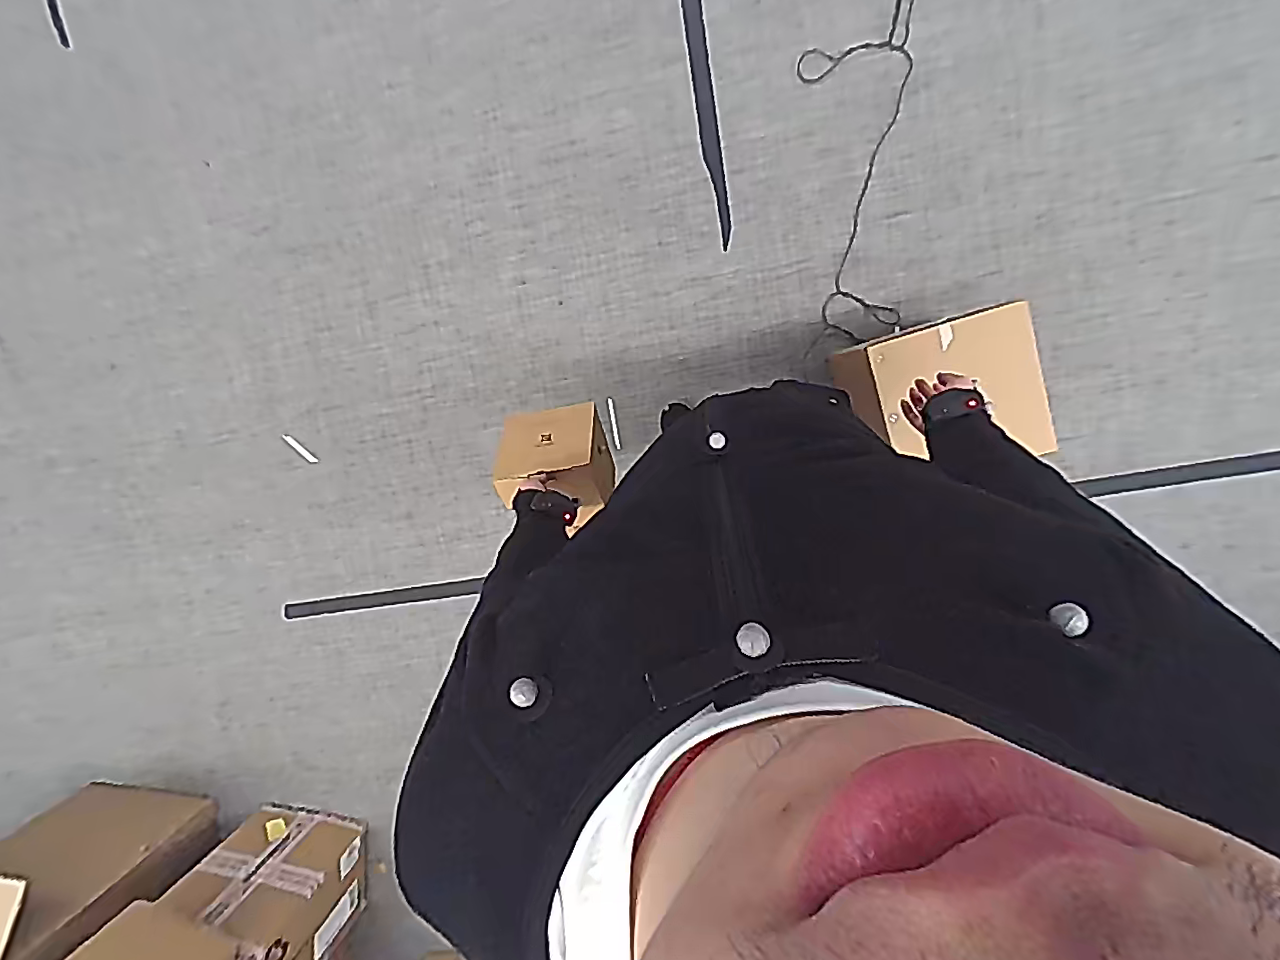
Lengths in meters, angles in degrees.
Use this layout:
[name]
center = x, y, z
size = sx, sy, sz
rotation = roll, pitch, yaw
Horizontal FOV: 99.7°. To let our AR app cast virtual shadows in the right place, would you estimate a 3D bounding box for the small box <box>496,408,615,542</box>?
[small box]
center = -0.143, -0.003, 0.984
size = 0.168, 0.179, 0.176
rotation = -9, 132, 6
